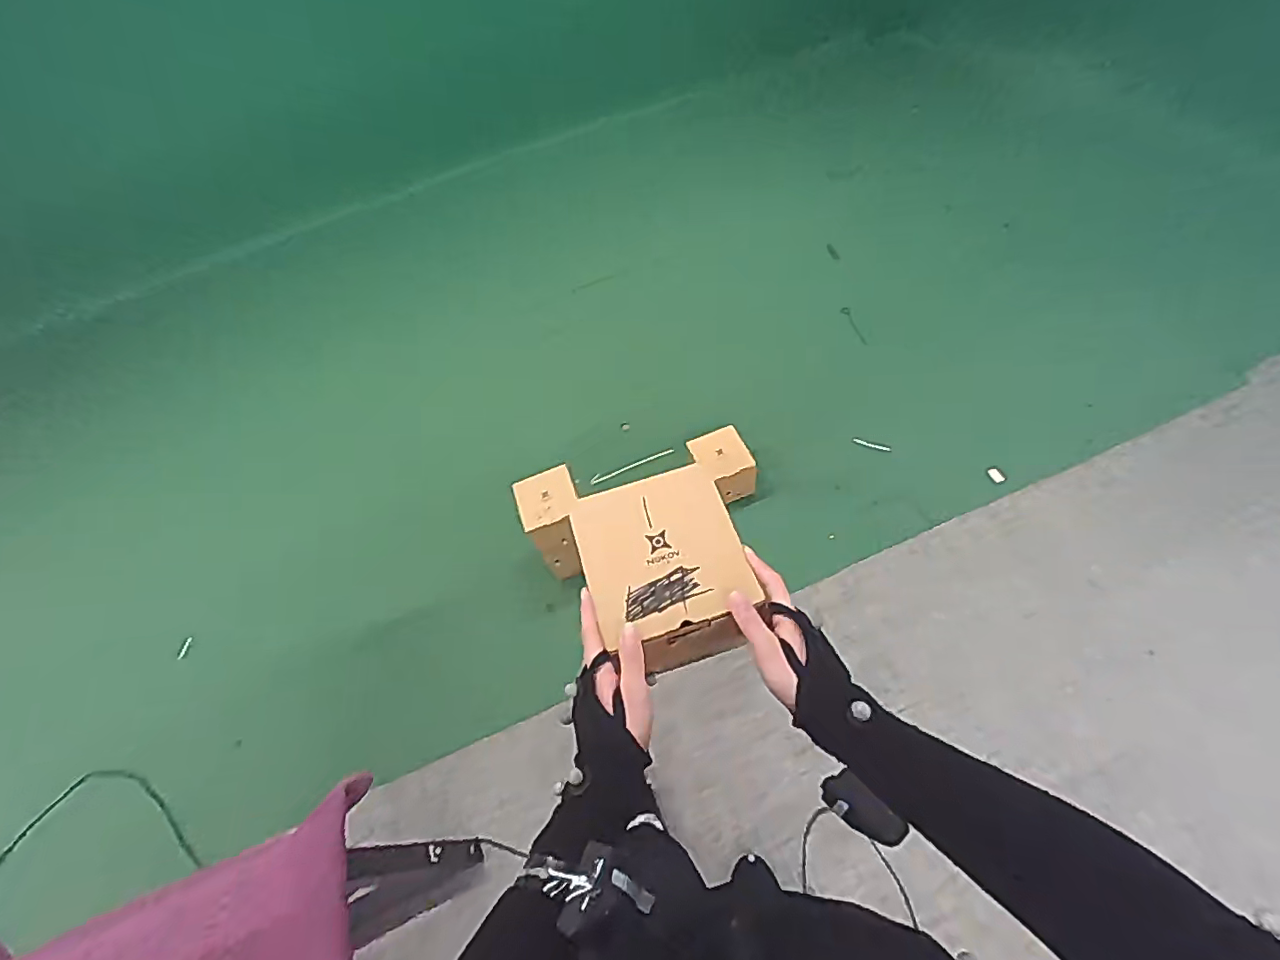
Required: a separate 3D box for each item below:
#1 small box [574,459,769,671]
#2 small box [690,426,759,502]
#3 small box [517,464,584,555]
[{"bbox_3d":[0.034,0.108,0.626,0.168,0.176,0.179,-16,59,-5],"label":"small box"},{"bbox_3d":[0.274,-0.039,1.770,0.168,0.176,0.179,-21,57,-5],"label":"small box"},{"bbox_3d":[-0.242,0.090,1.579,0.168,0.176,0.179,-21,56,-3],"label":"small box"}]
